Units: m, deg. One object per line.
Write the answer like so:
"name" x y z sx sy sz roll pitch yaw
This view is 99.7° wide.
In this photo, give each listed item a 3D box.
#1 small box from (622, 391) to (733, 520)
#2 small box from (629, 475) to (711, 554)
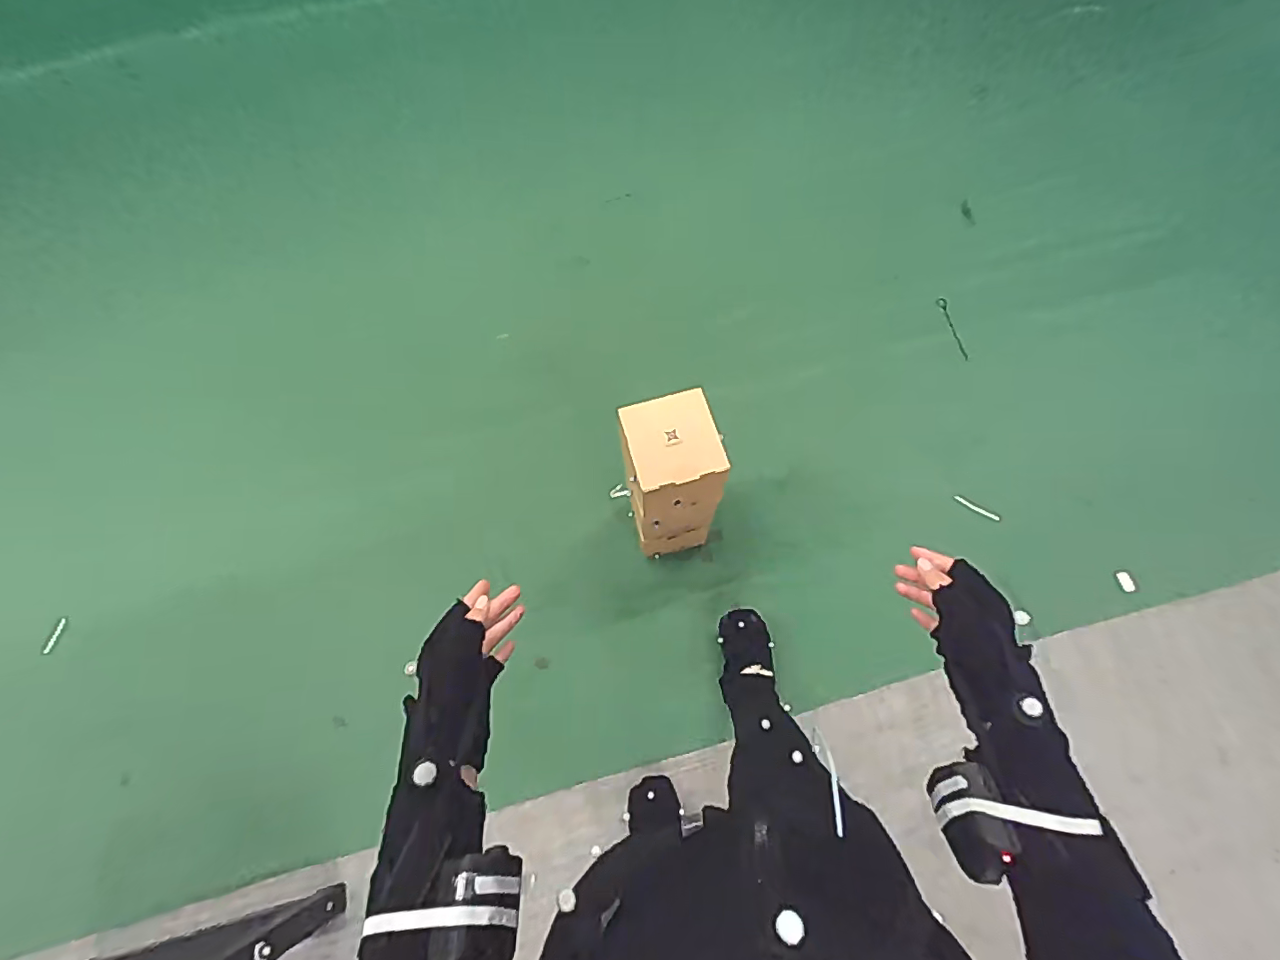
"small box" 0.067 -0.042 1.058 0.168 0.176 0.179 -15 69 -4
"small box" 0.075 0.079 1.363 0.168 0.176 0.179 -13 68 -3
